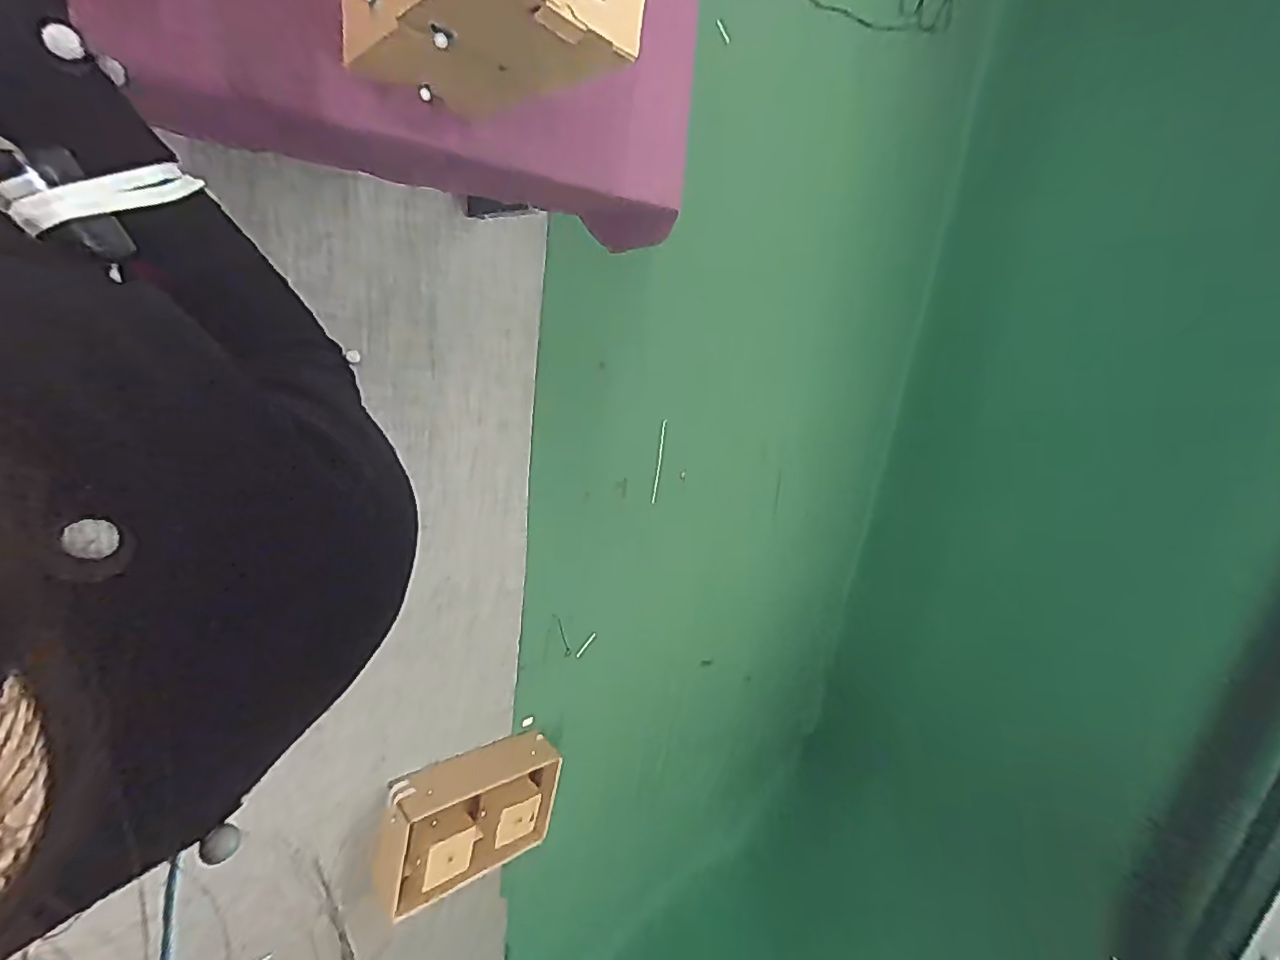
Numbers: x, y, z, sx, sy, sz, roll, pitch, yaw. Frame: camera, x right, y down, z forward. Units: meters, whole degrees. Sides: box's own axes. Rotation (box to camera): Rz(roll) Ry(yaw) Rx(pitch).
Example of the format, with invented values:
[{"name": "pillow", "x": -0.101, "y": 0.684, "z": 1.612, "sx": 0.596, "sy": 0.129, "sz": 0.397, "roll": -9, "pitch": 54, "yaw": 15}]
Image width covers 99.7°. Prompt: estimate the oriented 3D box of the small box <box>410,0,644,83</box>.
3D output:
[{"name": "small box", "x": -0.104, "y": -0.498, "z": 0.485, "sx": 0.168, "sy": 0.176, "sz": 0.179, "roll": -6, "pitch": 110, "yaw": -44}]
